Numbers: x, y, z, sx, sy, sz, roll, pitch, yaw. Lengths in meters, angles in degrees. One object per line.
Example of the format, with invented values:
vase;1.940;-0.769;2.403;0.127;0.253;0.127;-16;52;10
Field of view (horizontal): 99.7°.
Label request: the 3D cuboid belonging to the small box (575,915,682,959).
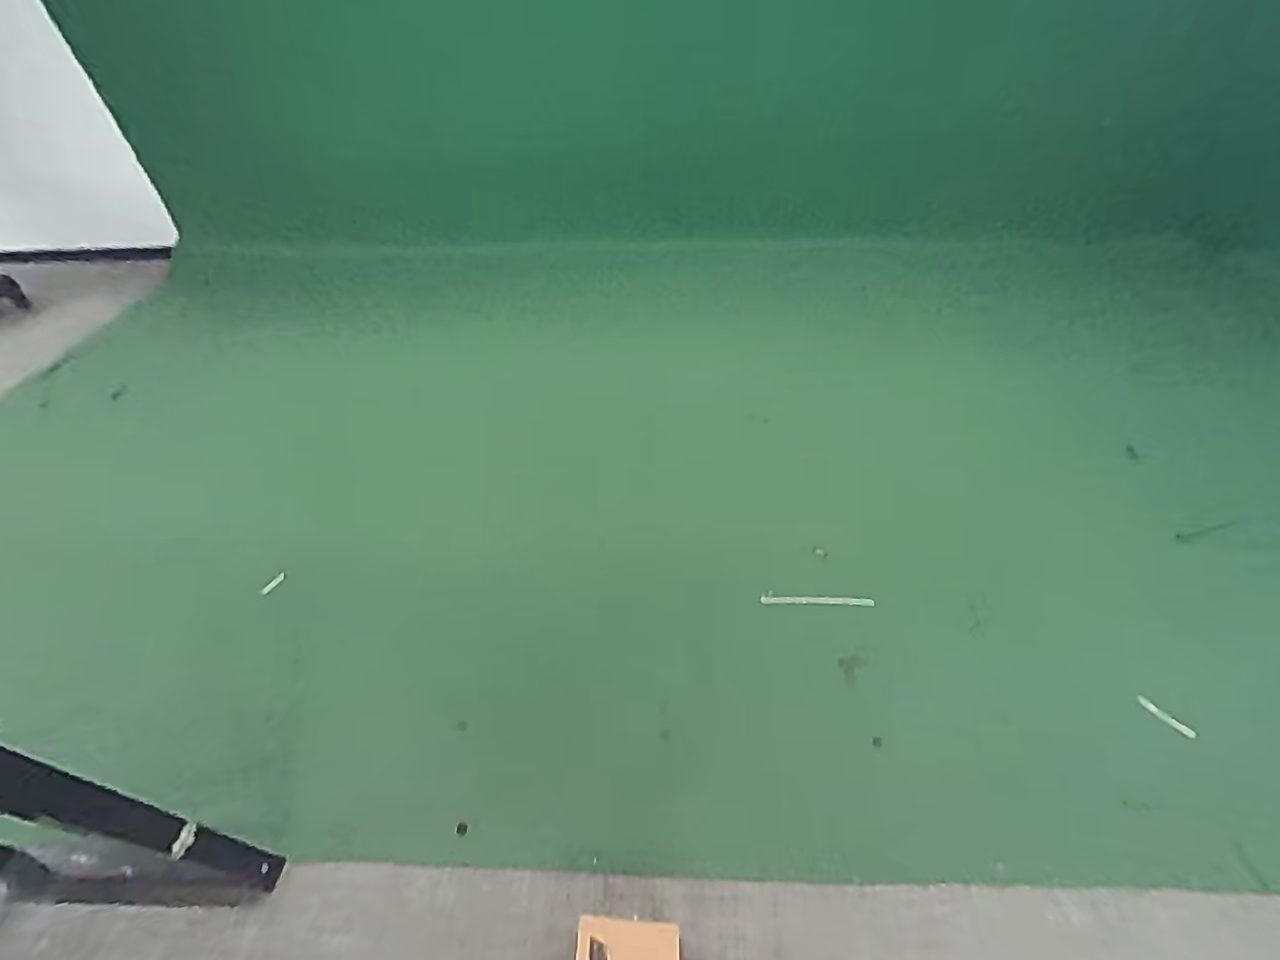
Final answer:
small box;-0.020;0.863;0.917;0.179;0.176;0.168;3;46;5
